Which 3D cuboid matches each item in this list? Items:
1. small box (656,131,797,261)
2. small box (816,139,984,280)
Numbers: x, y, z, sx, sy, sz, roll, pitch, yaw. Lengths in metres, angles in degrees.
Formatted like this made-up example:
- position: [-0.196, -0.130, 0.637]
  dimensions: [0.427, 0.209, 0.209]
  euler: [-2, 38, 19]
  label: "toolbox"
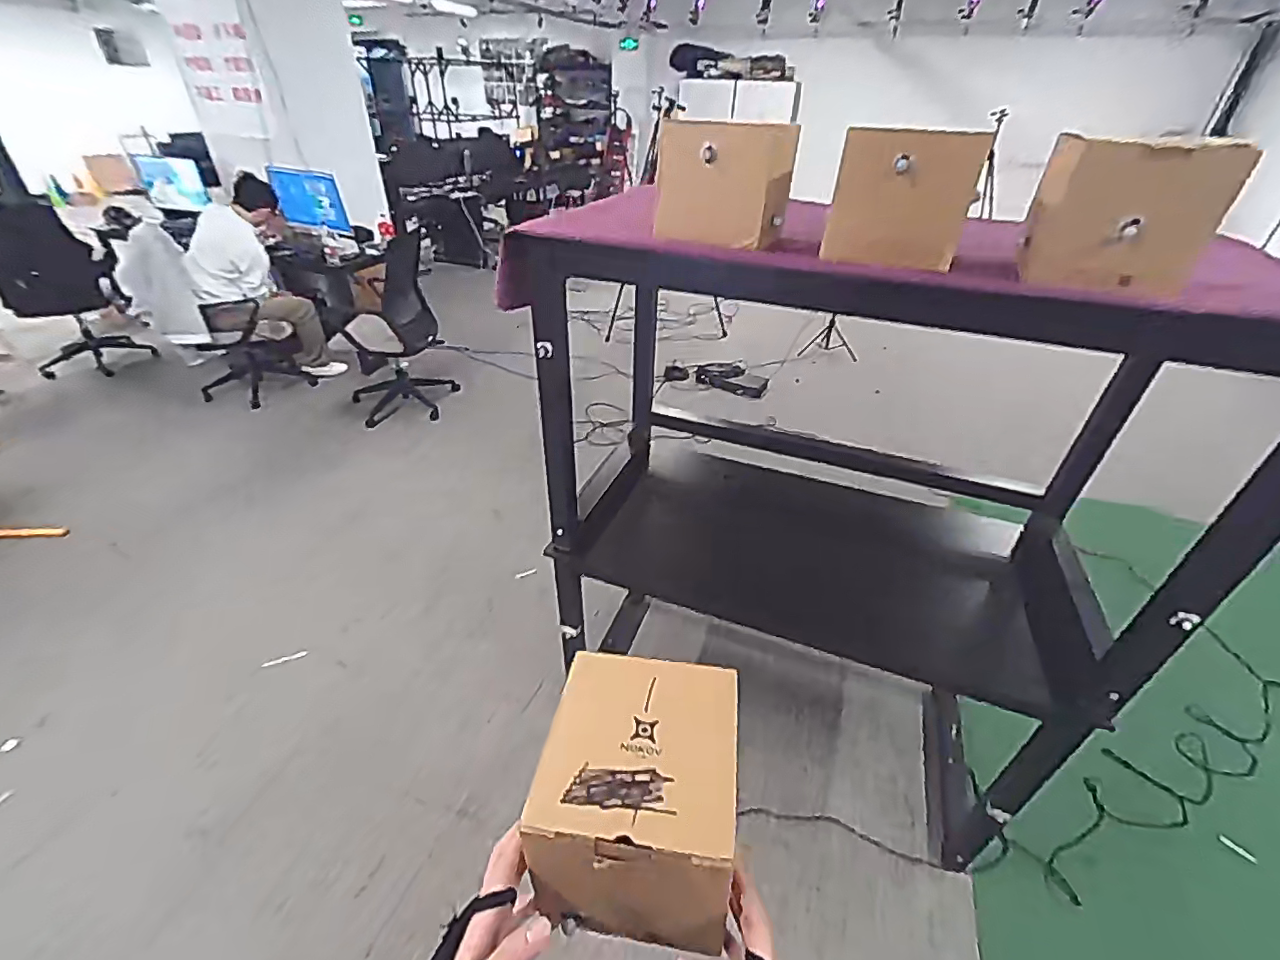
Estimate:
- position: [0.136, -0.461, 0.877]
  dimensions: [0.179, 0.176, 0.168]
  euler: [17, 37, 20]
  label: "small box"
- position: [0.375, -0.402, 0.802]
  dimensions: [0.179, 0.176, 0.168]
  euler: [13, 34, 17]
  label: "small box"
